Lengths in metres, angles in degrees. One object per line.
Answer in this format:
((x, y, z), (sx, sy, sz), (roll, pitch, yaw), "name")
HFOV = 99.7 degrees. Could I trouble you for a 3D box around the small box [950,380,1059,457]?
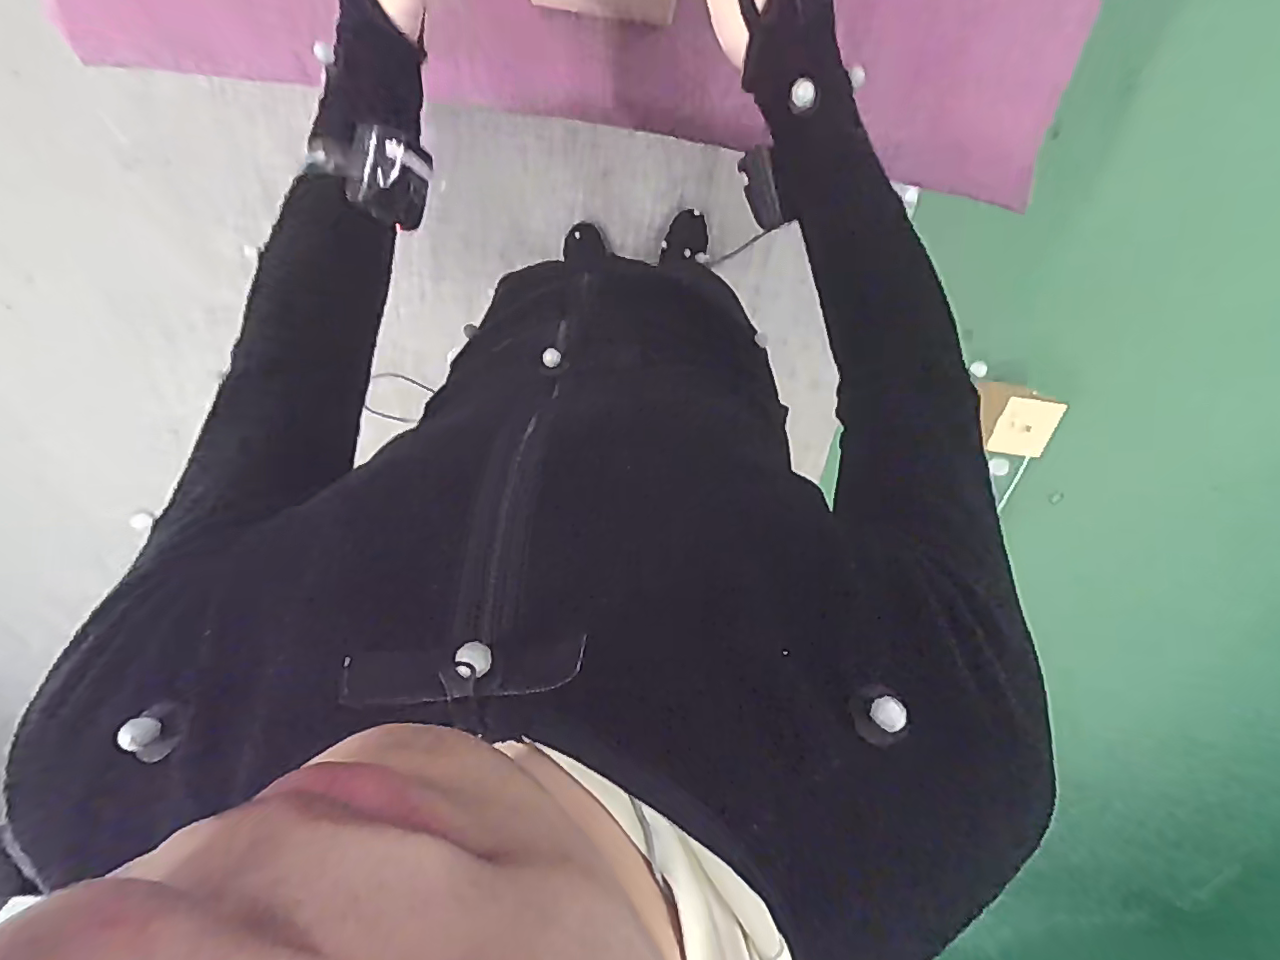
((1.073, -0.187, 1.608), (0.179, 0.176, 0.168), (8, 117, -6), "small box")
